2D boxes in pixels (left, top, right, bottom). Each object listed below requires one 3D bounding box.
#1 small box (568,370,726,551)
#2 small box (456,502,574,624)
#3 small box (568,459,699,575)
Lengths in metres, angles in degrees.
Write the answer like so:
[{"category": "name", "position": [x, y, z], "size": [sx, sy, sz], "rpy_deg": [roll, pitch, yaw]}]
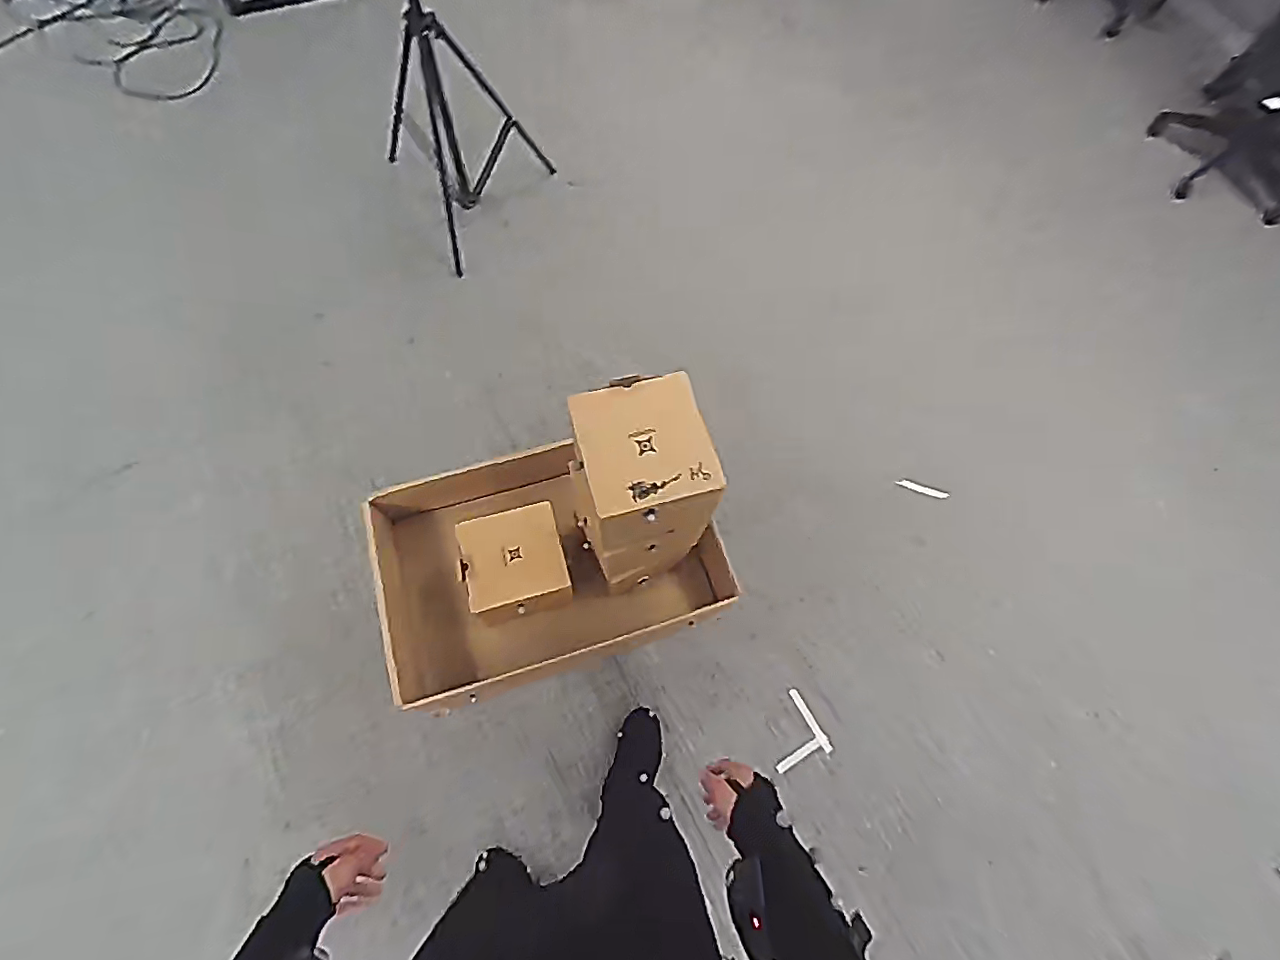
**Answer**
[{"category": "small box", "position": [0.002, -0.021, 0.747], "size": [0.168, 0.176, 0.179], "rpy_deg": [-14, 69, -7]}, {"category": "small box", "position": [-0.227, 0.161, 1.016], "size": [0.179, 0.176, 0.168], "rpy_deg": [-15, 70, -10]}, {"category": "small box", "position": [-0.005, 0.043, 0.899], "size": [0.179, 0.176, 0.168], "rpy_deg": [-20, 71, -10]}]
